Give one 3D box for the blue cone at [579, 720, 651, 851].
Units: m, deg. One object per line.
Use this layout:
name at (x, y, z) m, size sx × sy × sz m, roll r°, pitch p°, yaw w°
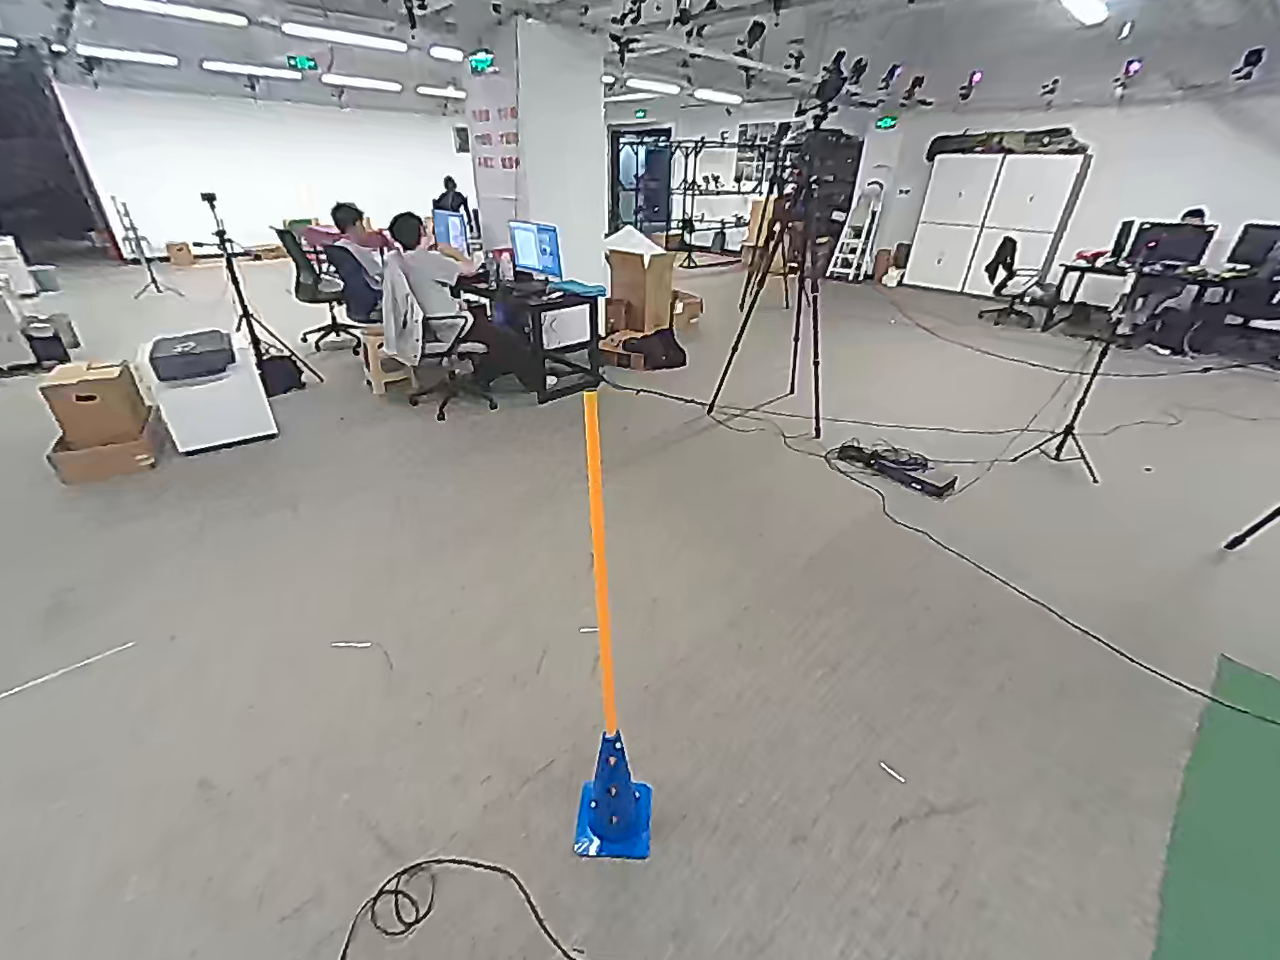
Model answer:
blue cone at (-0.065, 0.761, 1.391) m, size 0.192 × 0.380 × 0.193 m, roll 1°, pitch 27°, yaw 0°
